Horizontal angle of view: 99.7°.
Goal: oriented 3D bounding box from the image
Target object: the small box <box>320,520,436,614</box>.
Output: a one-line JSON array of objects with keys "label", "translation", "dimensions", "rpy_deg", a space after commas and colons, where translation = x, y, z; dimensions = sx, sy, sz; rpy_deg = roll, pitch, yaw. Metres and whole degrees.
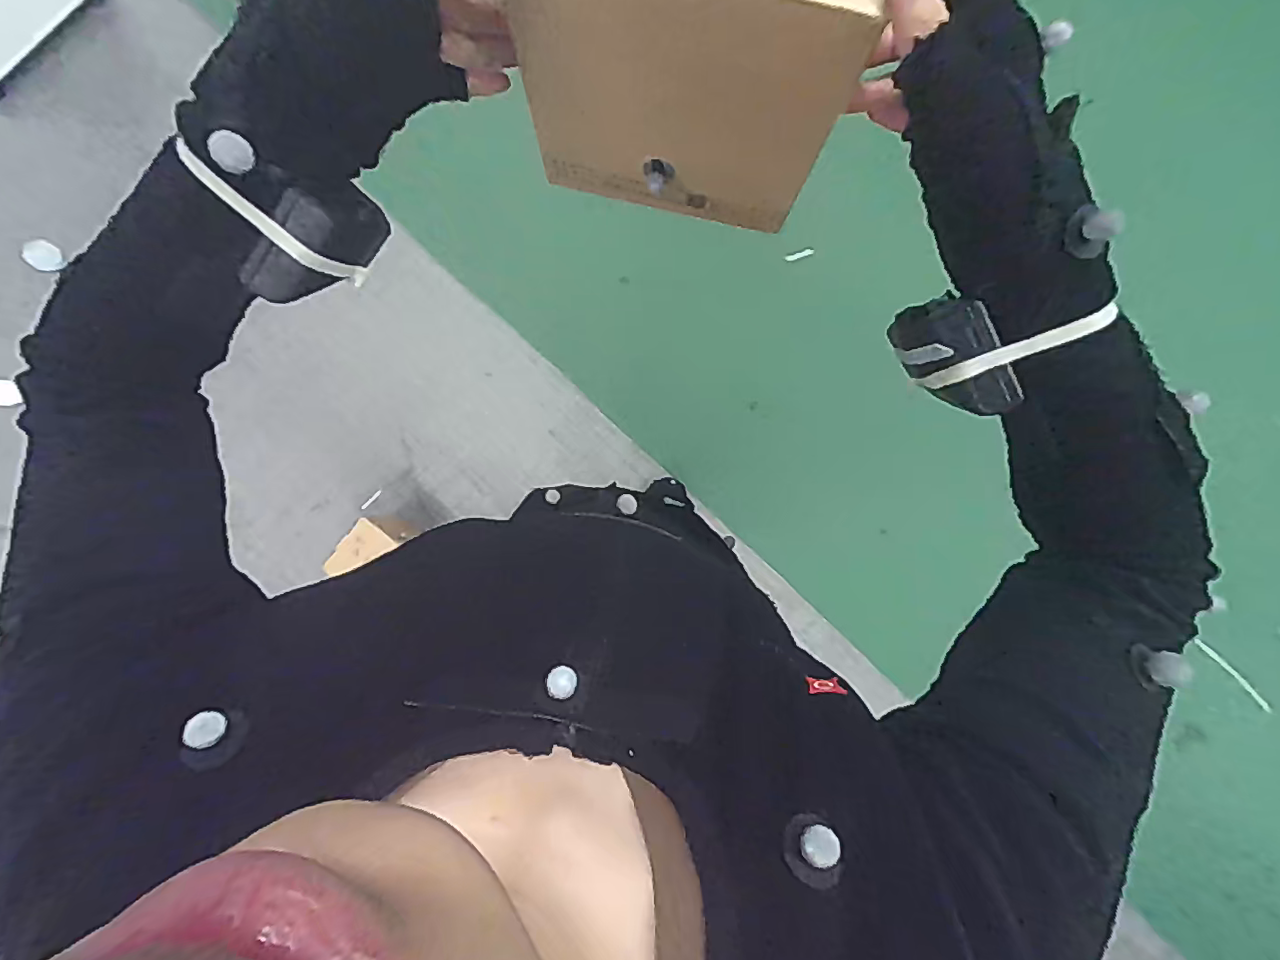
[{"label": "small box", "translation": [-0.663, 0.214, 1.394], "dimensions": [0.179, 0.176, 0.168], "rpy_deg": [38, 88, 0]}]
